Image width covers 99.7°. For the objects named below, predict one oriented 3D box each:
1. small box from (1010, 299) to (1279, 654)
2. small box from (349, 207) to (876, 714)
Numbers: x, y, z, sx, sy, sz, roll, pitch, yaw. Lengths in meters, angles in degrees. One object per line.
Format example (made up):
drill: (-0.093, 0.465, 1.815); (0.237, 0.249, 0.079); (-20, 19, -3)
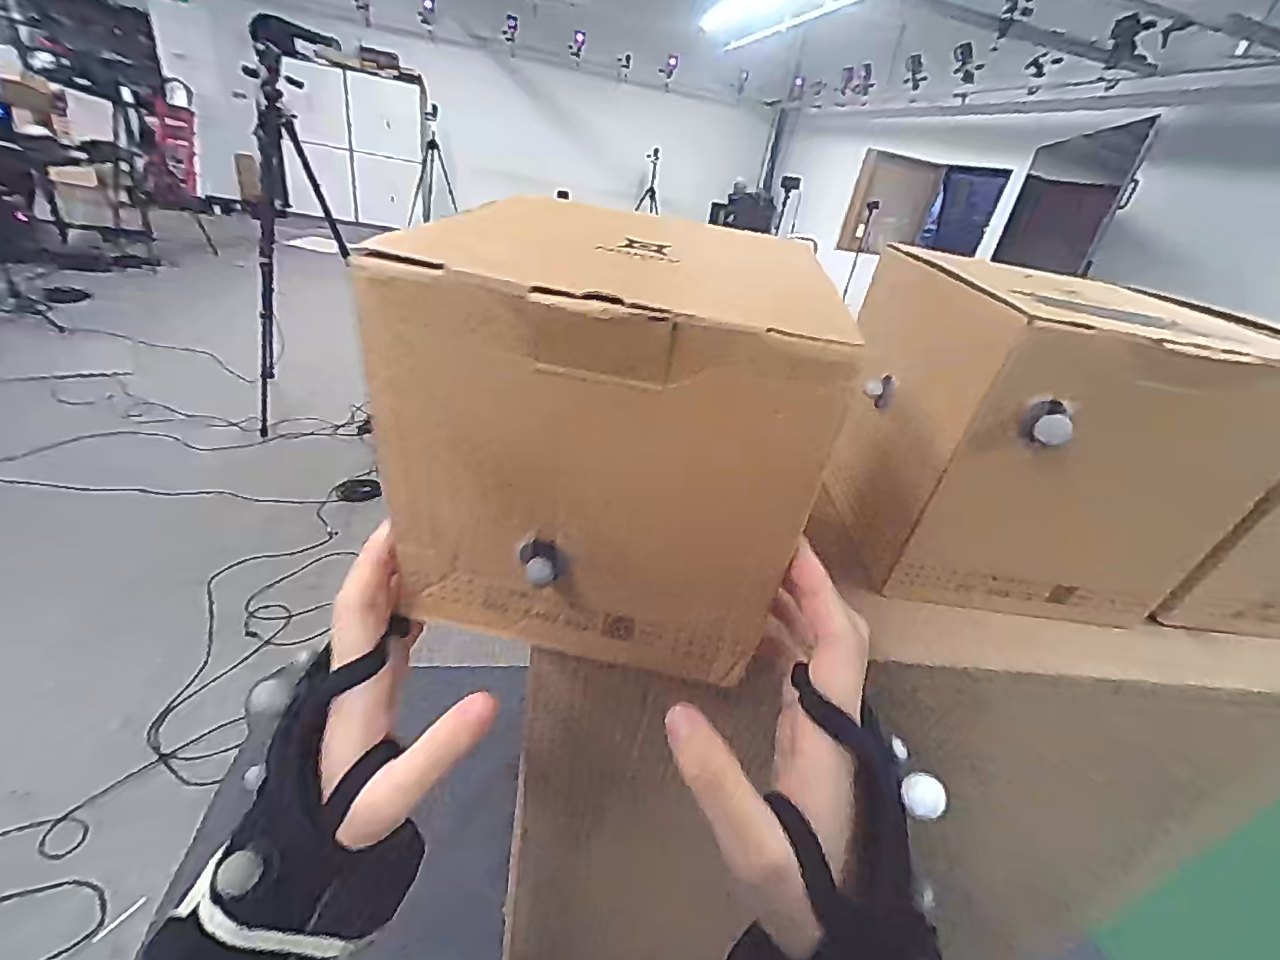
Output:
small box: (0.412, -0.003, 0.371); (0.168, 0.176, 0.179); (8, 33, -9)
small box: (-0.011, -0.020, 0.273); (0.168, 0.176, 0.179); (11, 35, 2)
